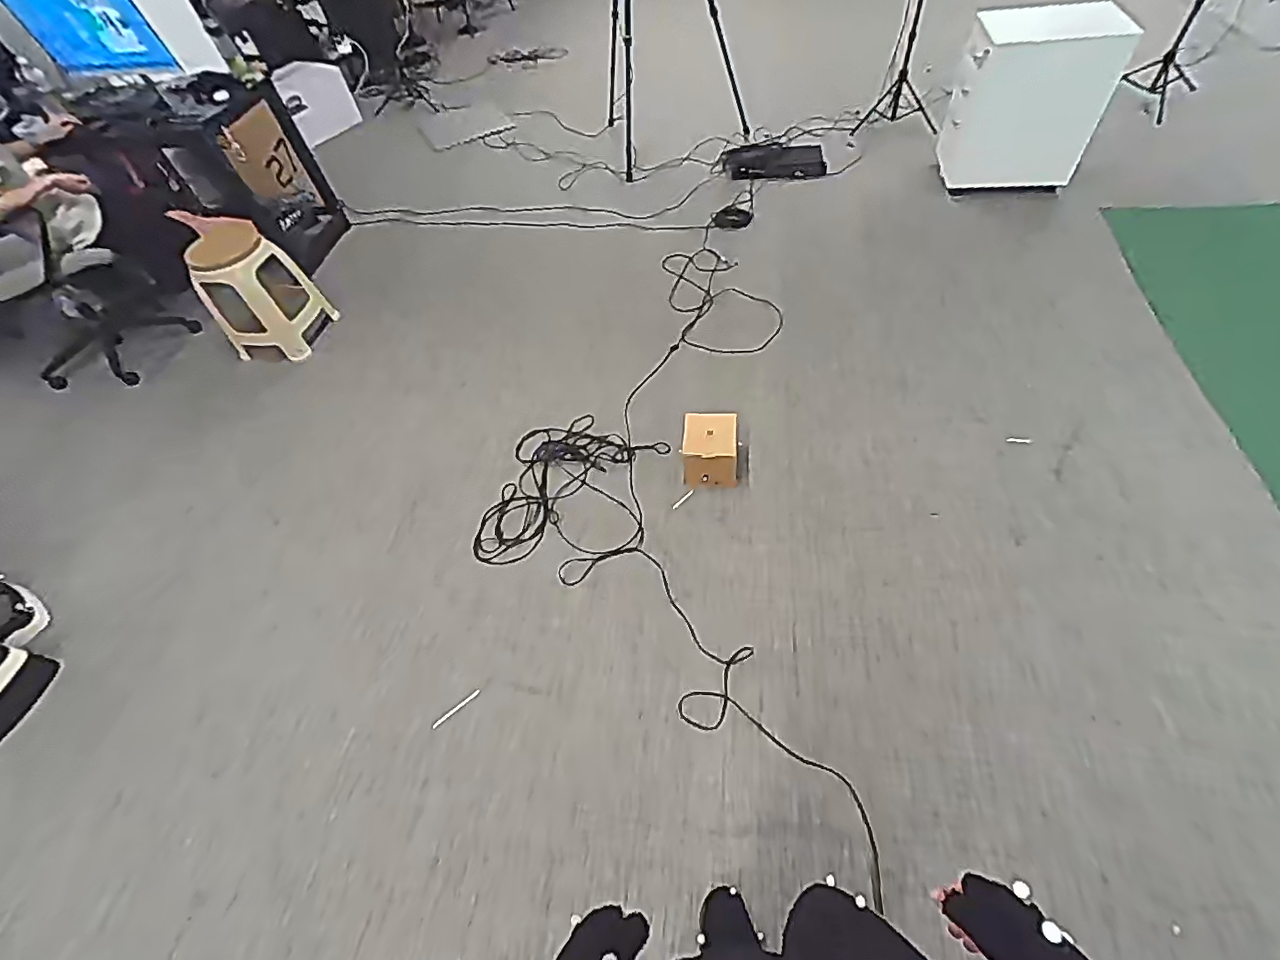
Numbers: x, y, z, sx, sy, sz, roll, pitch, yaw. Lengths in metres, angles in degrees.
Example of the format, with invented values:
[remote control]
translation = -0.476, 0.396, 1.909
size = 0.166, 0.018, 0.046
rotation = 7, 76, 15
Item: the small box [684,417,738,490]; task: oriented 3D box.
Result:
[small box]
translation = 0.232, -0.086, 1.754
size = 0.168, 0.176, 0.179
rotation = 1, 55, 9
